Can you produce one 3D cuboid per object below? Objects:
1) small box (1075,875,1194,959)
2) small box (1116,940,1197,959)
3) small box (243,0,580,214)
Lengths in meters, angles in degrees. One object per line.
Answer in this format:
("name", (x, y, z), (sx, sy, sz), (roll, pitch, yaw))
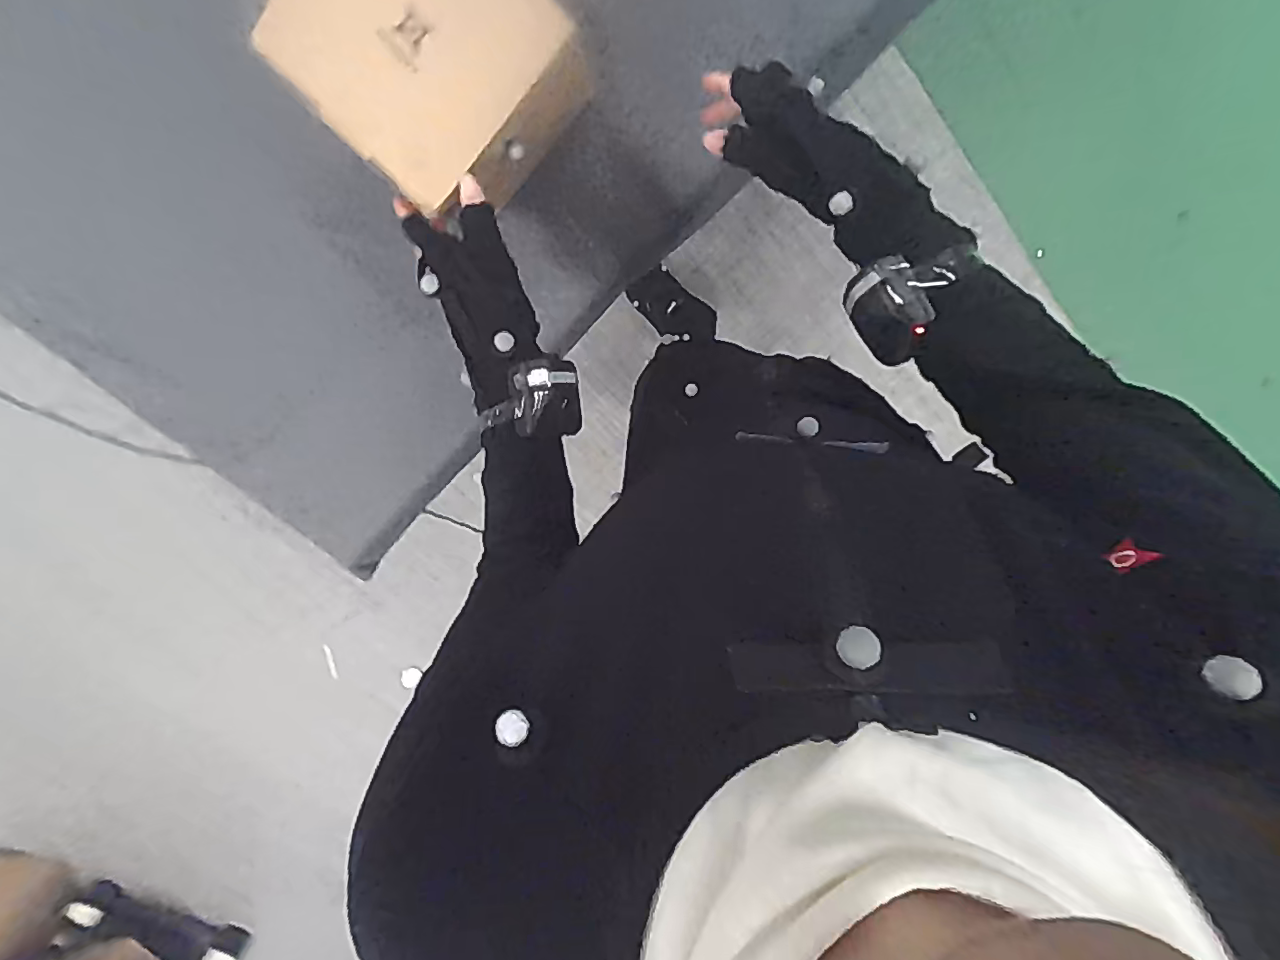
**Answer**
("small box", (1.460, 1.335, 1.618), (0.168, 0.176, 0.179), (32, 112, -12))
("small box", (1.462, 1.401, 1.469), (0.179, 0.176, 0.168), (34, 111, -12))
("small box", (-0.167, -0.351, 0.456), (0.168, 0.176, 0.179), (42, 108, -16))
